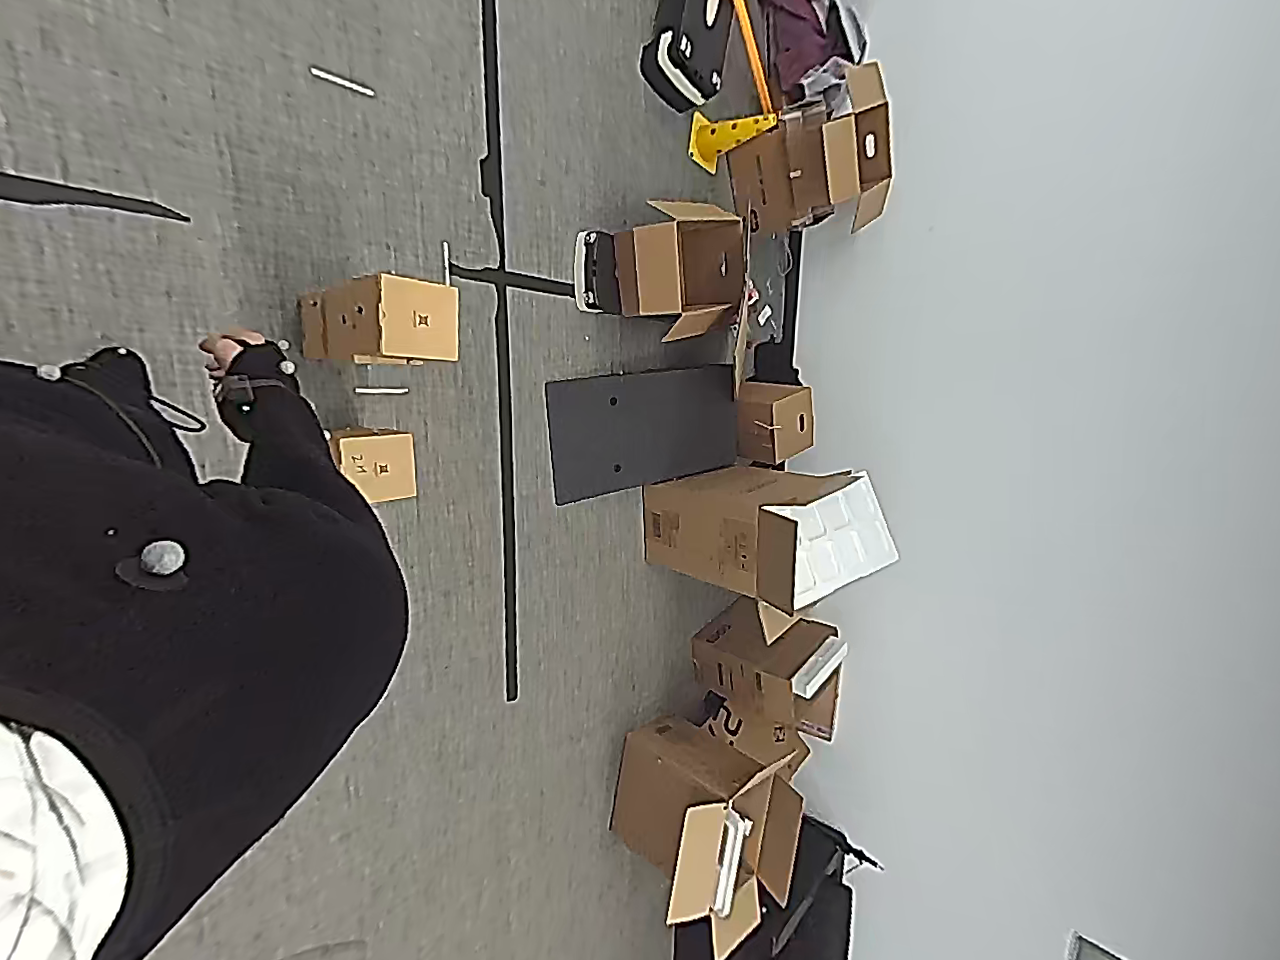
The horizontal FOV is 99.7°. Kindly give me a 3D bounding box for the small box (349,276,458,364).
[{"bbox_3d":[-0.533,-0.354,1.220,0.179,0.176,0.168,-7,105,-46],"label":"small box"}]

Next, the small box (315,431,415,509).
[{"bbox_3d":[-0.693,-0.032,1.366,0.179,0.176,0.168,-11,106,-46],"label":"small box"}]

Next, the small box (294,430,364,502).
[{"bbox_3d":[-0.815,-0.045,1.477,0.179,0.176,0.168,-12,106,-44],"label":"small box"}]

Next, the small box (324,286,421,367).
[{"bbox_3d":[-0.657,-0.369,1.325,0.168,0.176,0.179,-10,107,-46],"label":"small box"}]
